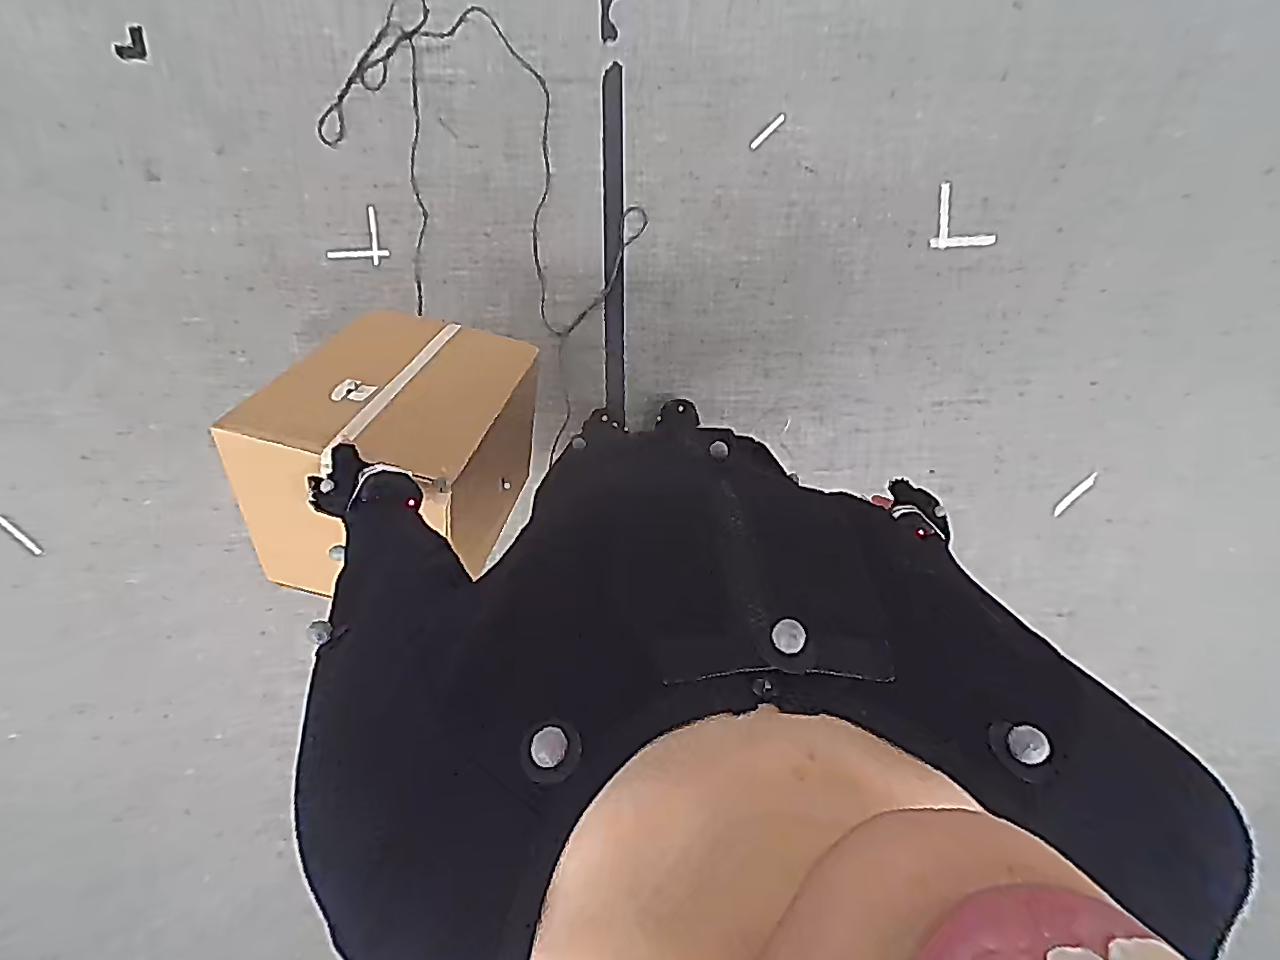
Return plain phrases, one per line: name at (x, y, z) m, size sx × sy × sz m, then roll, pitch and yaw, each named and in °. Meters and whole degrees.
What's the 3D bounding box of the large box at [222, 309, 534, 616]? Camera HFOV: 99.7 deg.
large box at (-0.398, -0.042, 0.946) m, size 0.320 × 0.408 × 0.320 m, roll 14°, pitch 131°, yaw 0°
